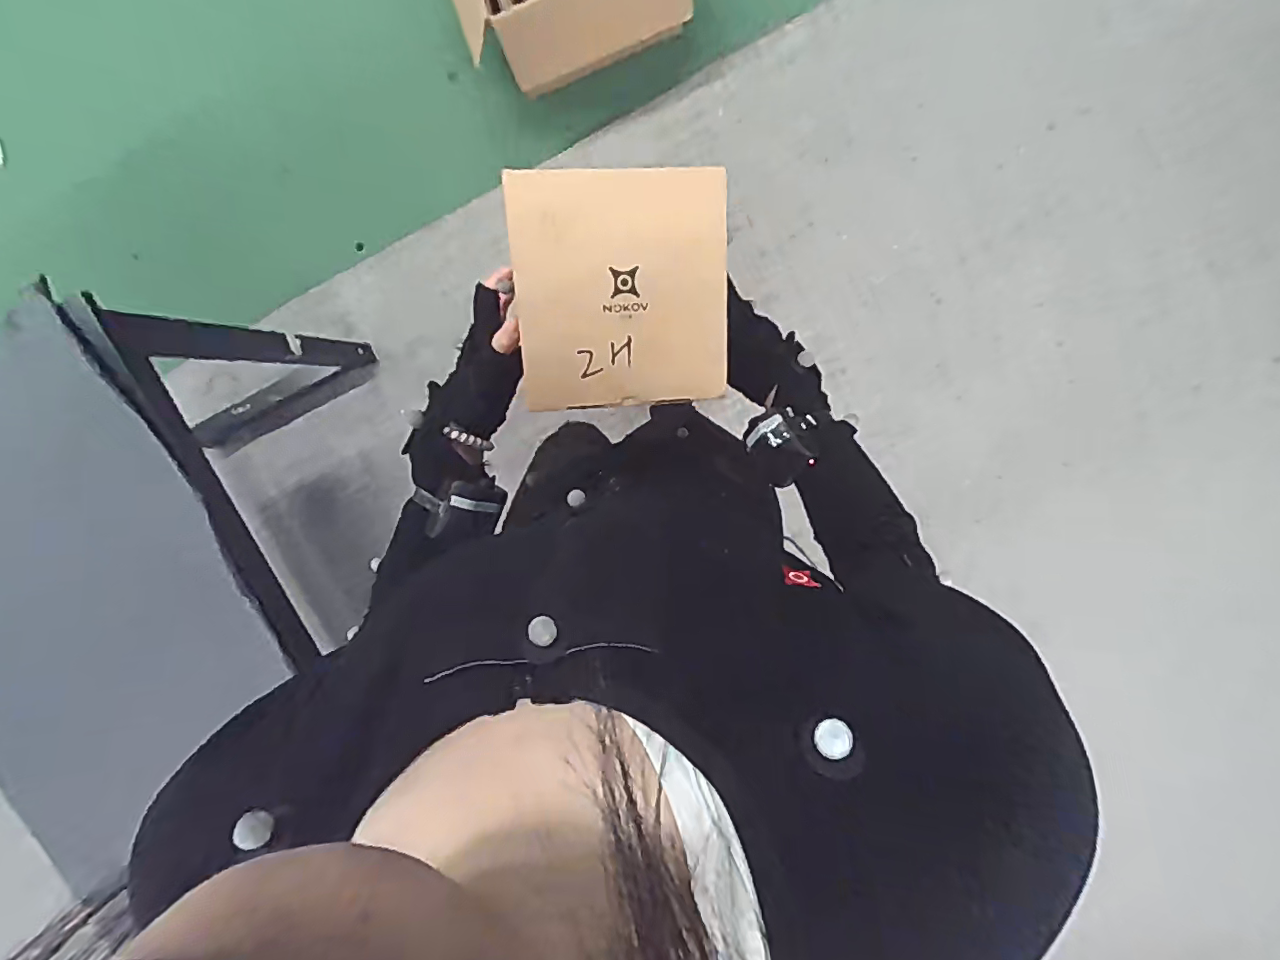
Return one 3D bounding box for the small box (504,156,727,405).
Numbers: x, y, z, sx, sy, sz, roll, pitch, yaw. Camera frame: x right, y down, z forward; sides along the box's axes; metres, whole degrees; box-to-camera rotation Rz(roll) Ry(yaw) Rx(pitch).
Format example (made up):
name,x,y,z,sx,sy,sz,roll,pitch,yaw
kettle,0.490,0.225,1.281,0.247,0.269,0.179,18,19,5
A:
name,x,y,z,sx,sy,sz,roll,pitch,yaw
small box,-0.025,-0.171,0.489,0.168,0.176,0.179,-6,107,-7
